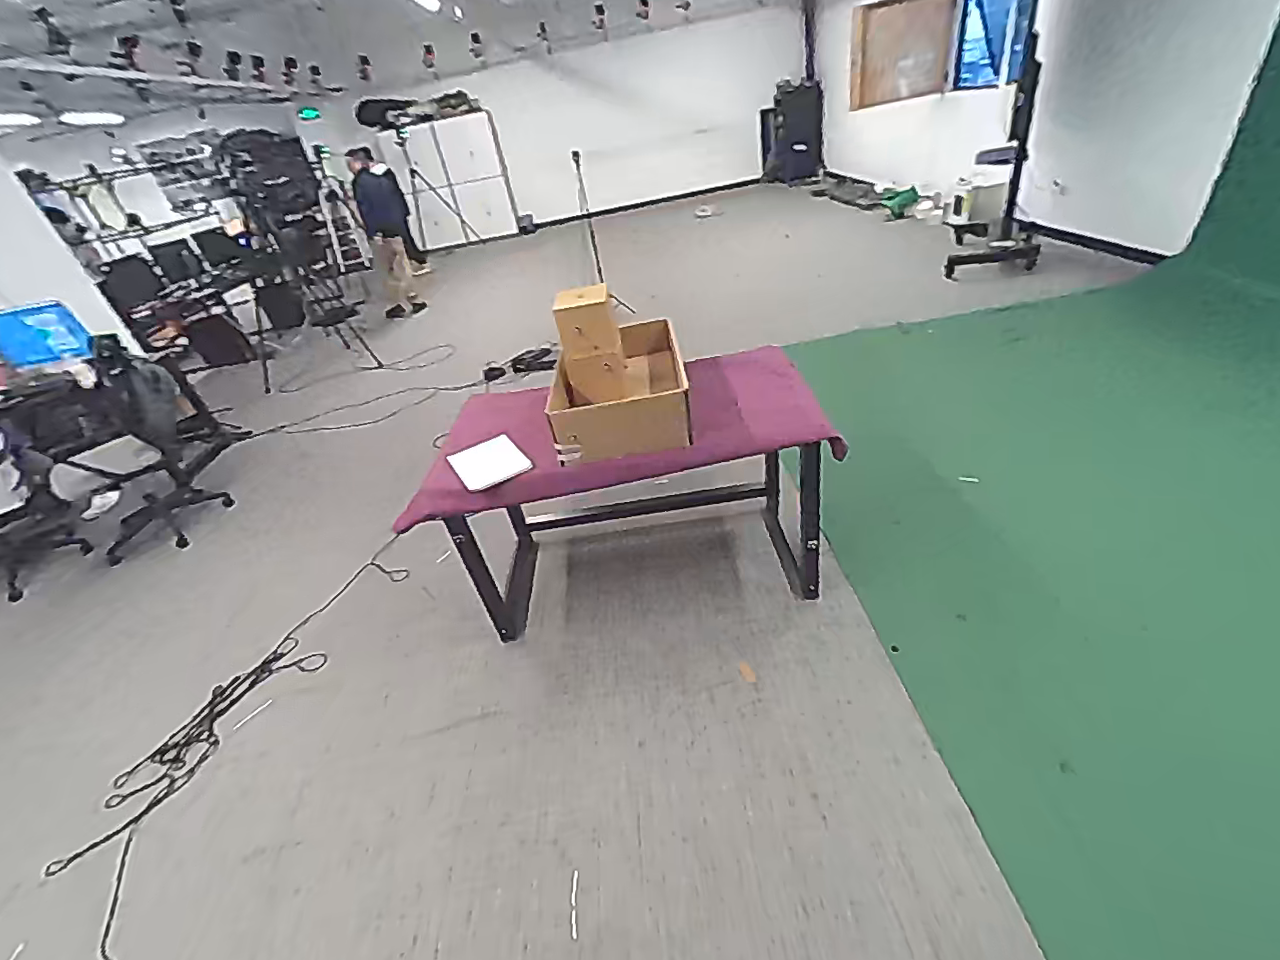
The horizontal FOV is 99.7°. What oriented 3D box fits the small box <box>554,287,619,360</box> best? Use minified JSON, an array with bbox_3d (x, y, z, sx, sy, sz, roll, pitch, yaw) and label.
[{"bbox_3d":[-0.162,-0.491,1.719,0.168,0.176,0.179,-8,35,6],"label":"small box"}]
